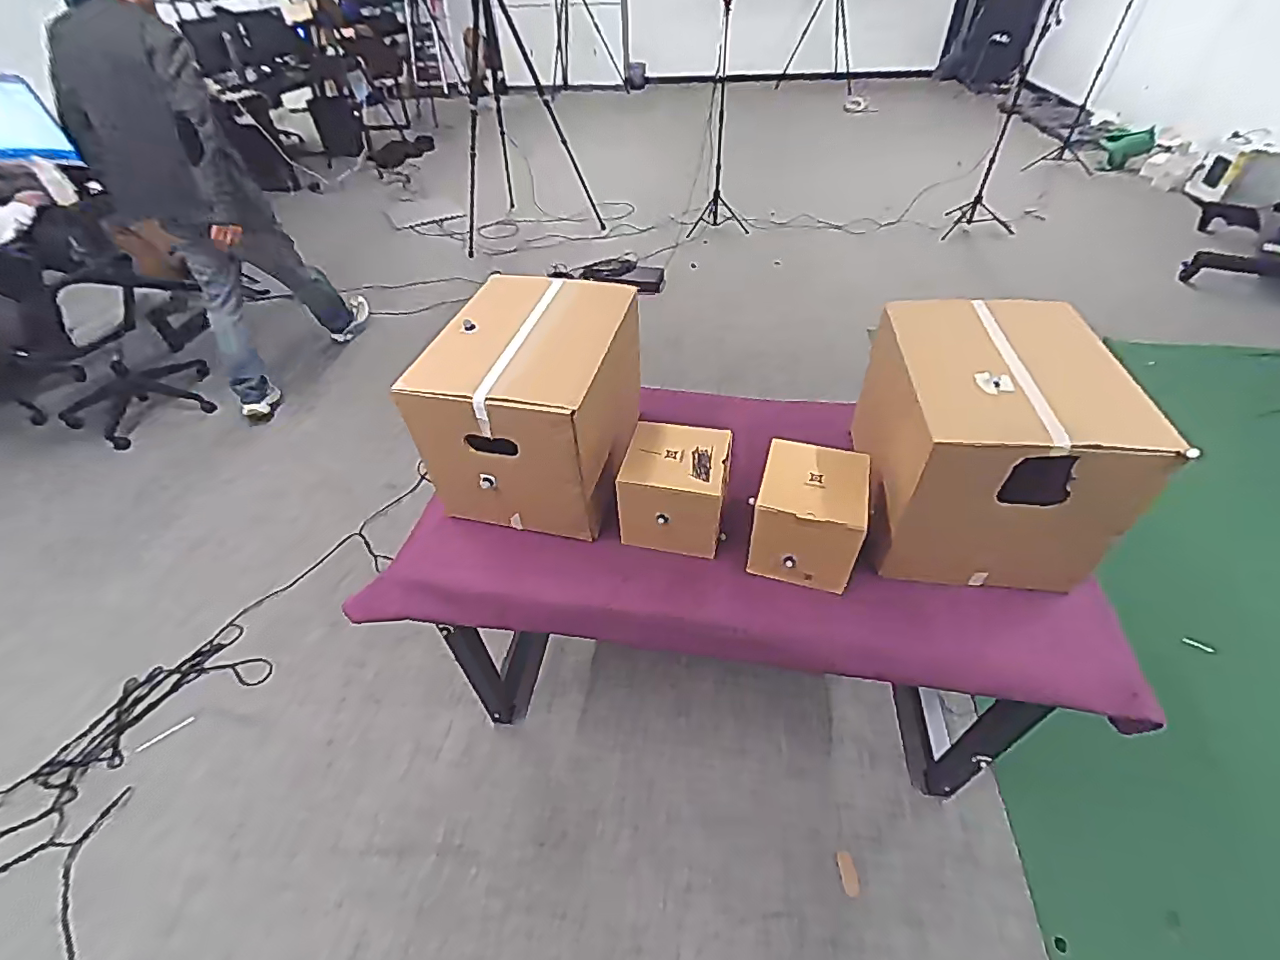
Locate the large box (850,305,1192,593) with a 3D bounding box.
[{"bbox_3d":[0.581,-0.065,0.942,0.320,0.320,0.408,3,46,9],"label":"large box"}]
